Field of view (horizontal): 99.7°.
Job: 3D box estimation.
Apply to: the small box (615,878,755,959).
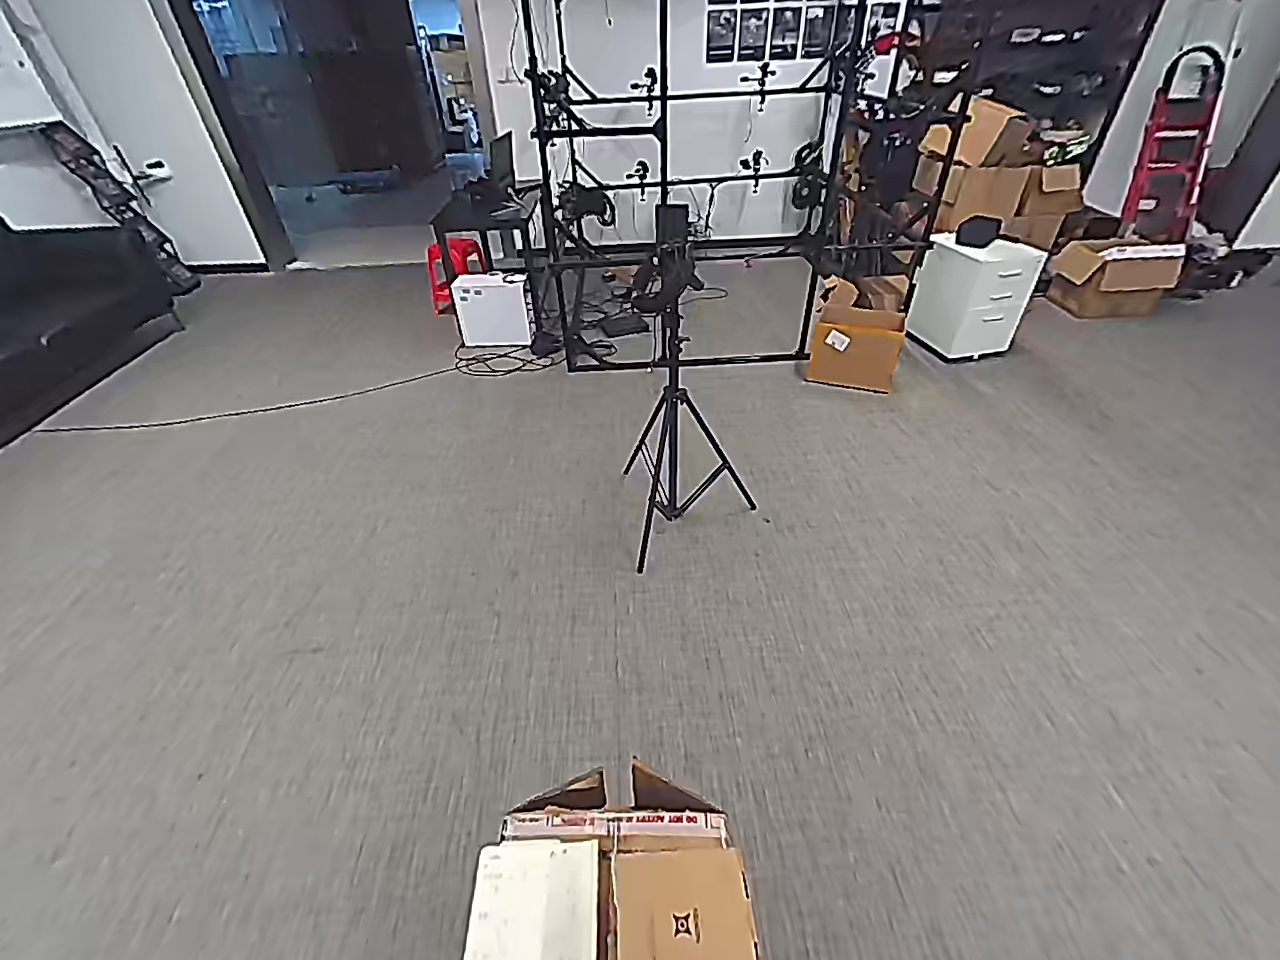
[{"bbox_3d":[0.057,0.660,0.726,0.179,0.176,0.168,-3,40,-3],"label":"small box"}]
